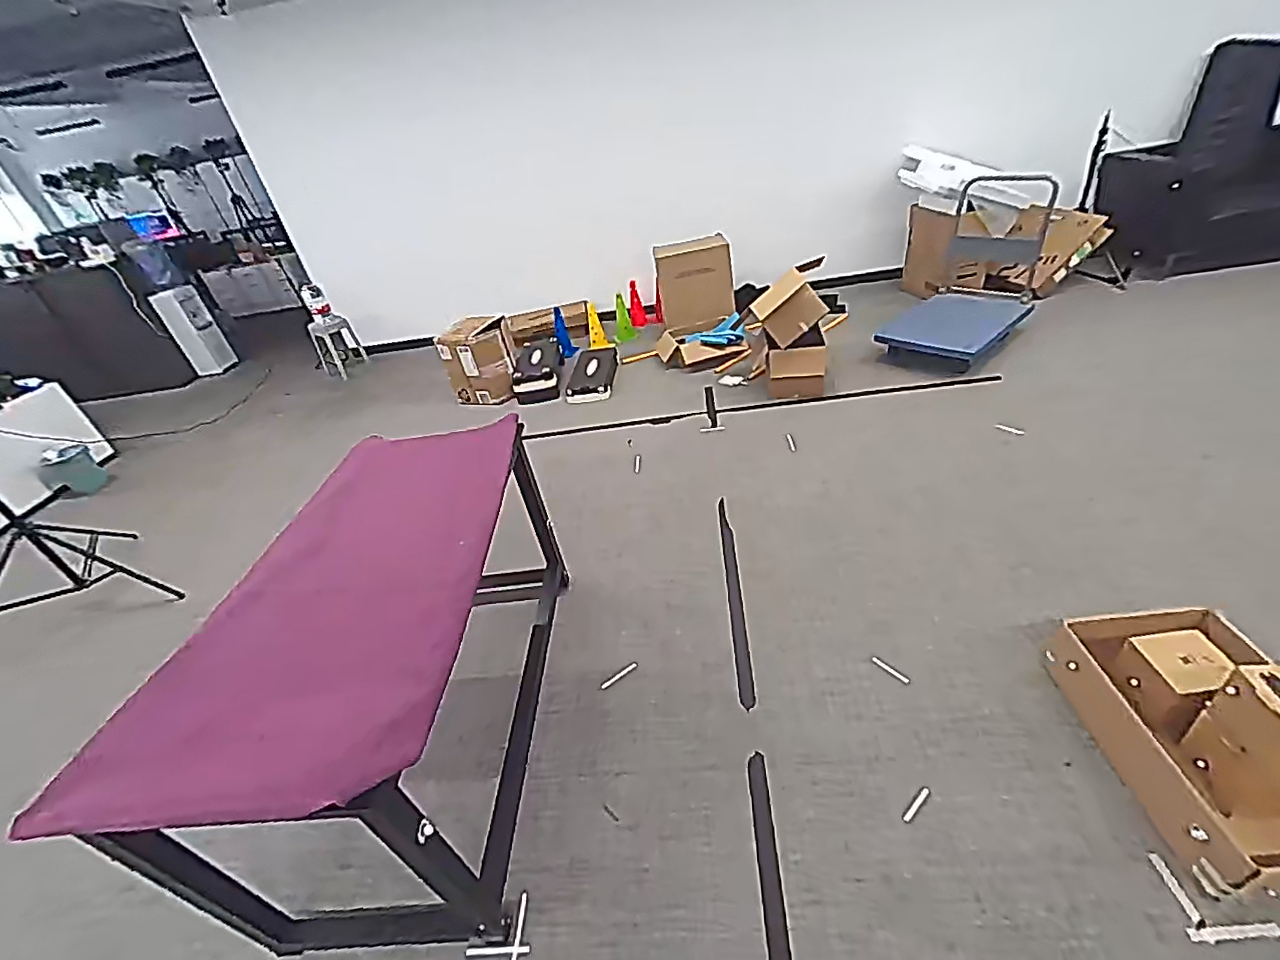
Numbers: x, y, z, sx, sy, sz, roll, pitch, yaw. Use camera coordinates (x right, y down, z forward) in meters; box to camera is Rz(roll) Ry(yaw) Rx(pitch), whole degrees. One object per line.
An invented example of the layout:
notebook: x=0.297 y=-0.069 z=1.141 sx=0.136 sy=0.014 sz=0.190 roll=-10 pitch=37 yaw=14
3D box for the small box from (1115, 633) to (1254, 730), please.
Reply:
small box: x=1.379 y=0.521 z=1.391 sx=0.179 sy=0.176 sz=0.168 roll=-8 pitch=36 yaw=5

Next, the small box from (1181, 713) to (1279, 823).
small box: x=1.397 y=0.647 z=1.215 sx=0.179 sy=0.176 sz=0.168 roll=-5 pitch=33 yaw=10
